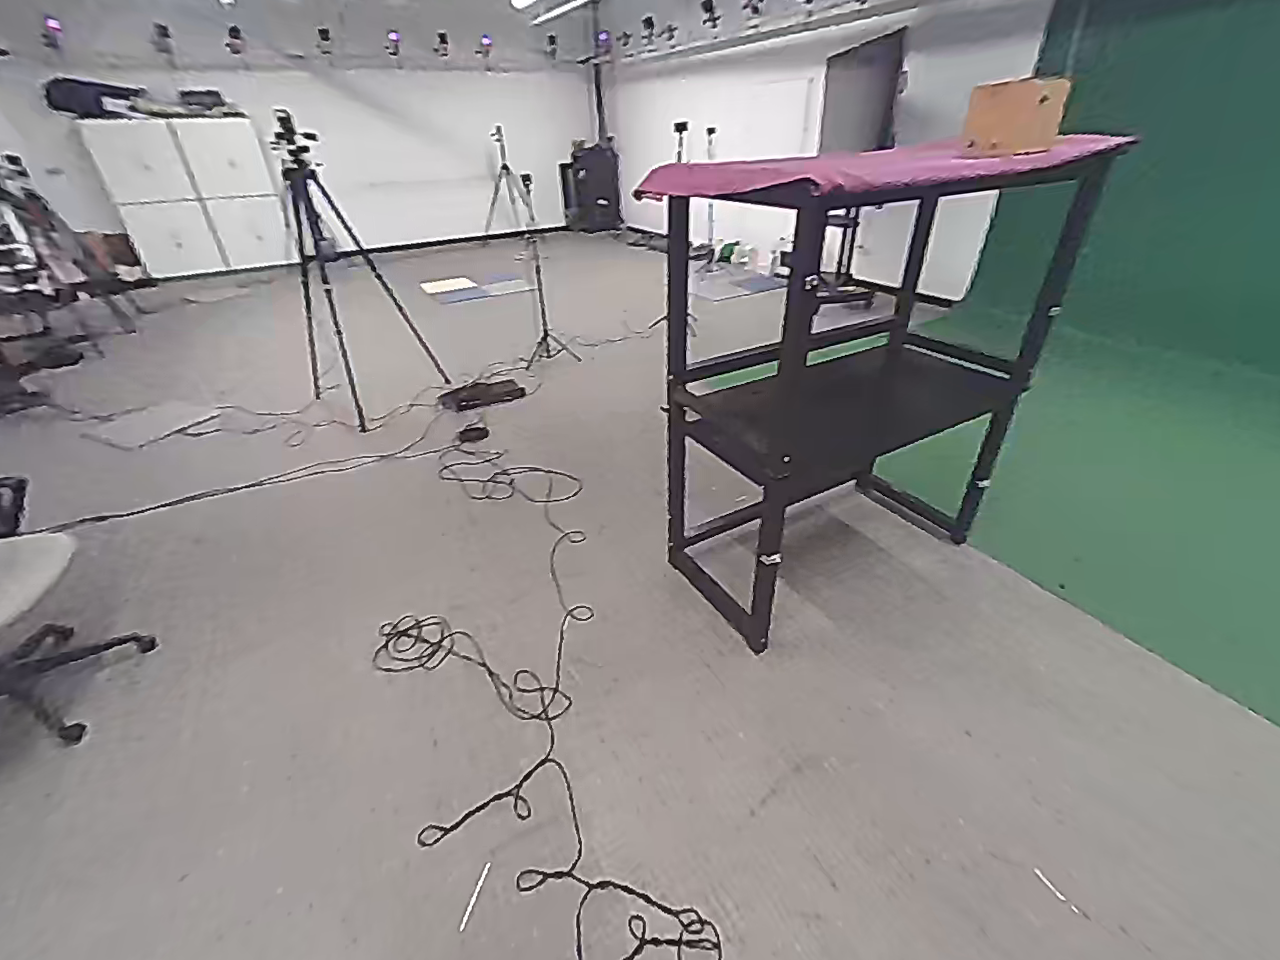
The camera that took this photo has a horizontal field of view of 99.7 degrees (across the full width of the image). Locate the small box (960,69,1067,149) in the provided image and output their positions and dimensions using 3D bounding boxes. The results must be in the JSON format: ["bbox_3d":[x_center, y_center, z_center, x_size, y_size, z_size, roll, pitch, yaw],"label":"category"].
[{"bbox_3d":[1.014,-1.012,1.486,0.179,0.176,0.168,-18,34,-22],"label":"small box"}]
